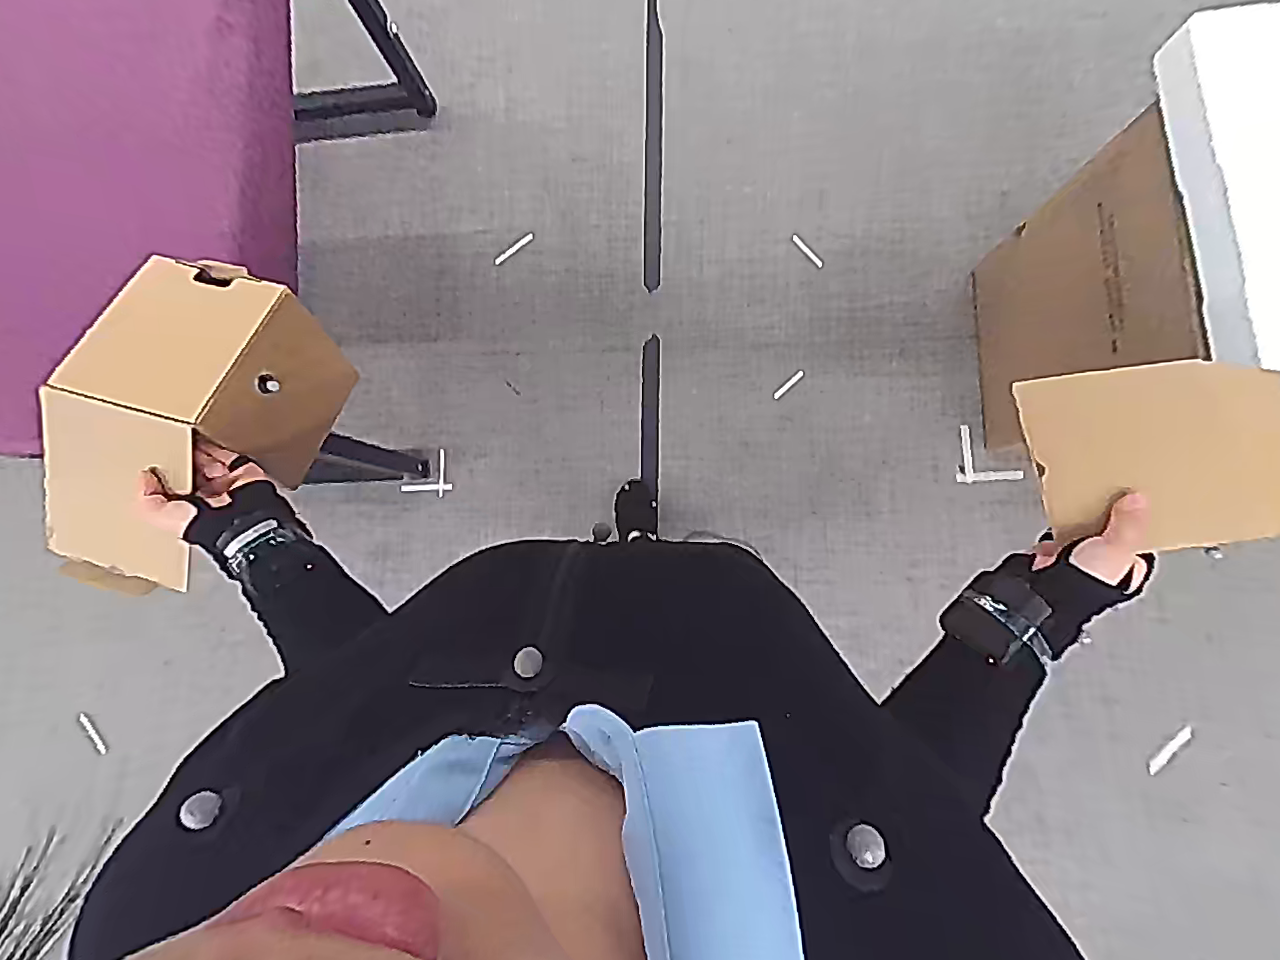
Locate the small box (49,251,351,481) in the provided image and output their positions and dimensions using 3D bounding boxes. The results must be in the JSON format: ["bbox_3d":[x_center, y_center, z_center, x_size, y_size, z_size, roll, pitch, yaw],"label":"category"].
[{"bbox_3d":[-0.470,-0.120,0.618,0.168,0.176,0.179,15,66,4],"label":"small box"}]
